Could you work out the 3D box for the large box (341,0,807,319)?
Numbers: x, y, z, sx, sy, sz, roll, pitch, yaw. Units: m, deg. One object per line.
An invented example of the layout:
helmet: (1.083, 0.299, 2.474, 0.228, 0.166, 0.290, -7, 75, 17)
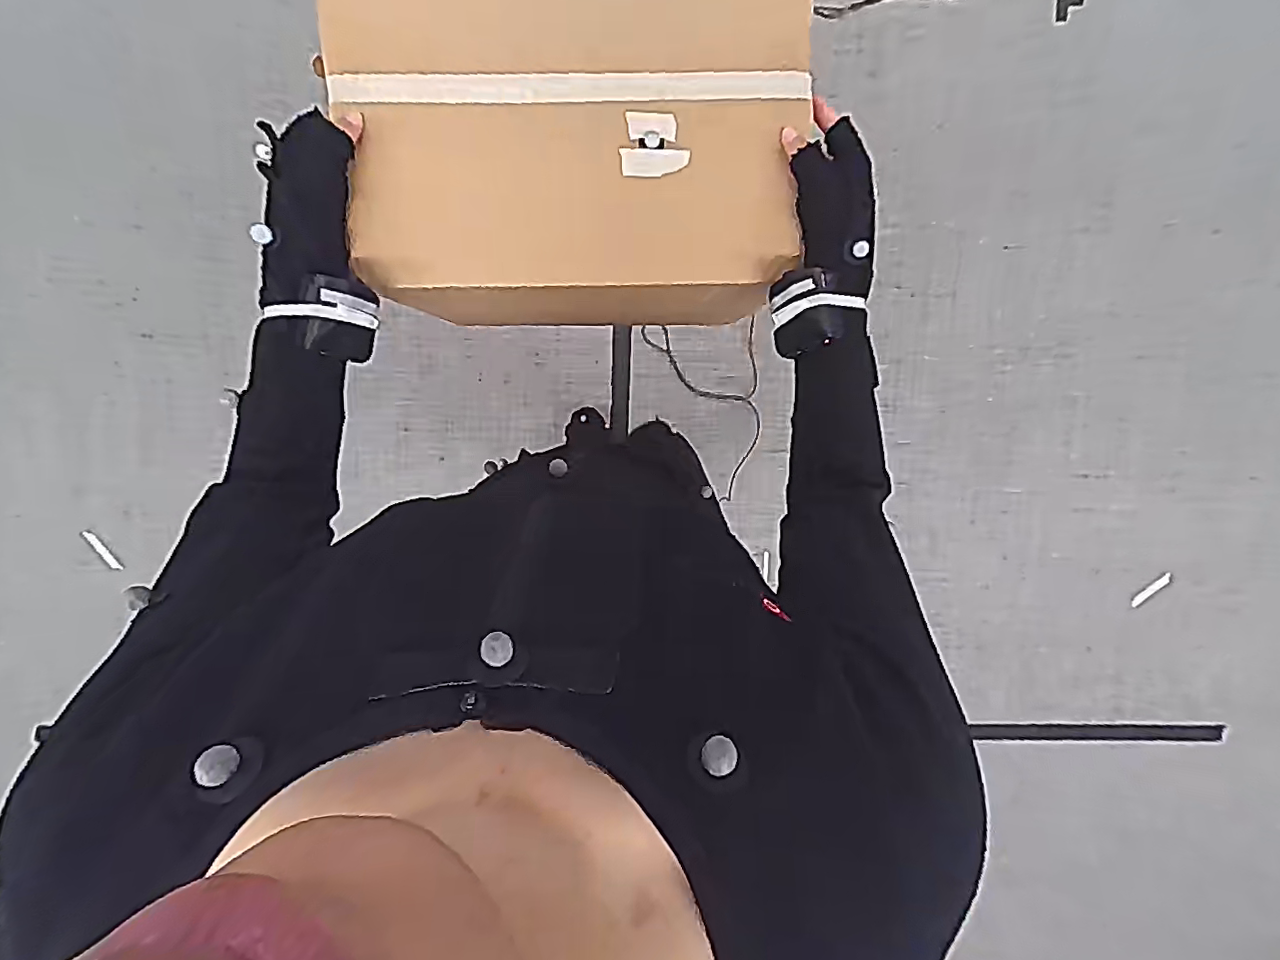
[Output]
large box: (-0.059, -0.367, 0.620, 0.408, 0.320, 0.320, -1, 101, -2)
